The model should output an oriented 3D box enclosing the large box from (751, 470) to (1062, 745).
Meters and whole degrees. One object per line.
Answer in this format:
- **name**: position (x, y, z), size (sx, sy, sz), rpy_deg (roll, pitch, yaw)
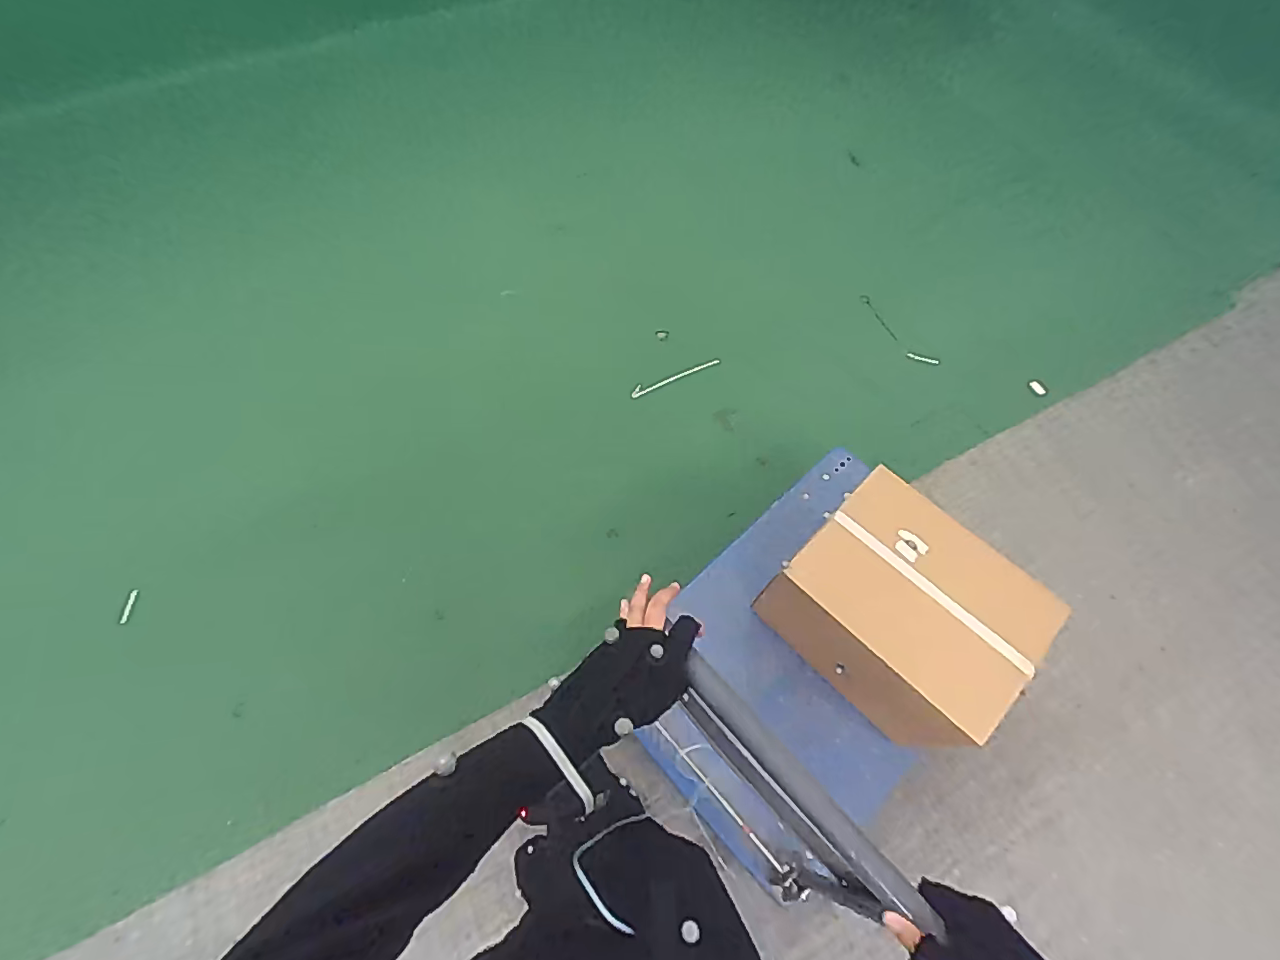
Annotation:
- **large box**: position (0.494, 0.264, 1.090), size (0.320, 0.320, 0.408), rpy_deg (-41, 70, -18)
